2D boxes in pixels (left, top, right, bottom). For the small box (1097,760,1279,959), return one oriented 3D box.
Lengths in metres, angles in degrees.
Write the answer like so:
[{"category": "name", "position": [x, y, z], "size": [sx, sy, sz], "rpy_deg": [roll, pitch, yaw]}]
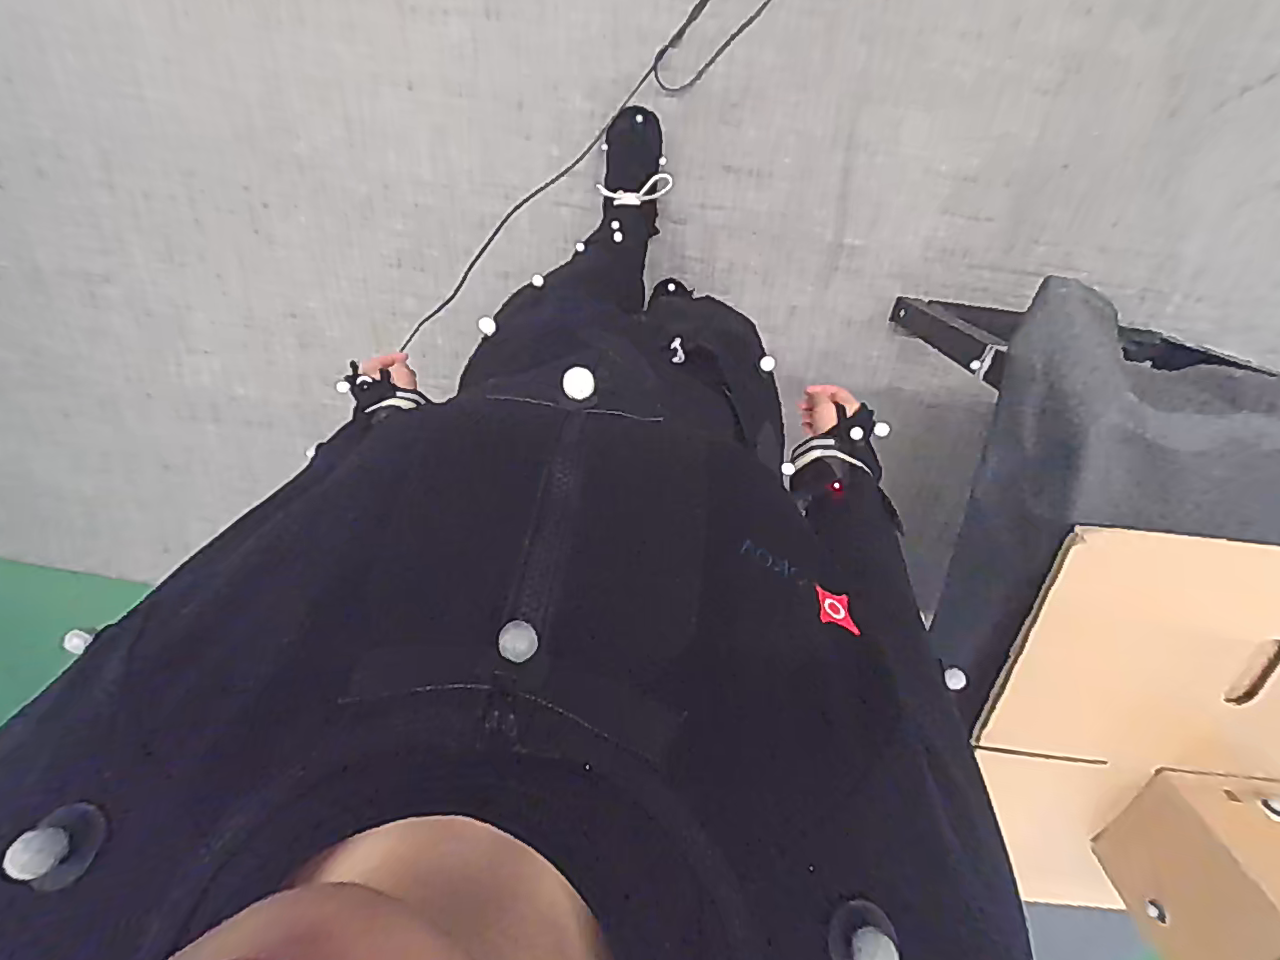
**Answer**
[{"category": "small box", "position": [0.678, 0.451, 0.610], "size": [0.168, 0.176, 0.179], "rpy_deg": [4, 119, -1]}]
